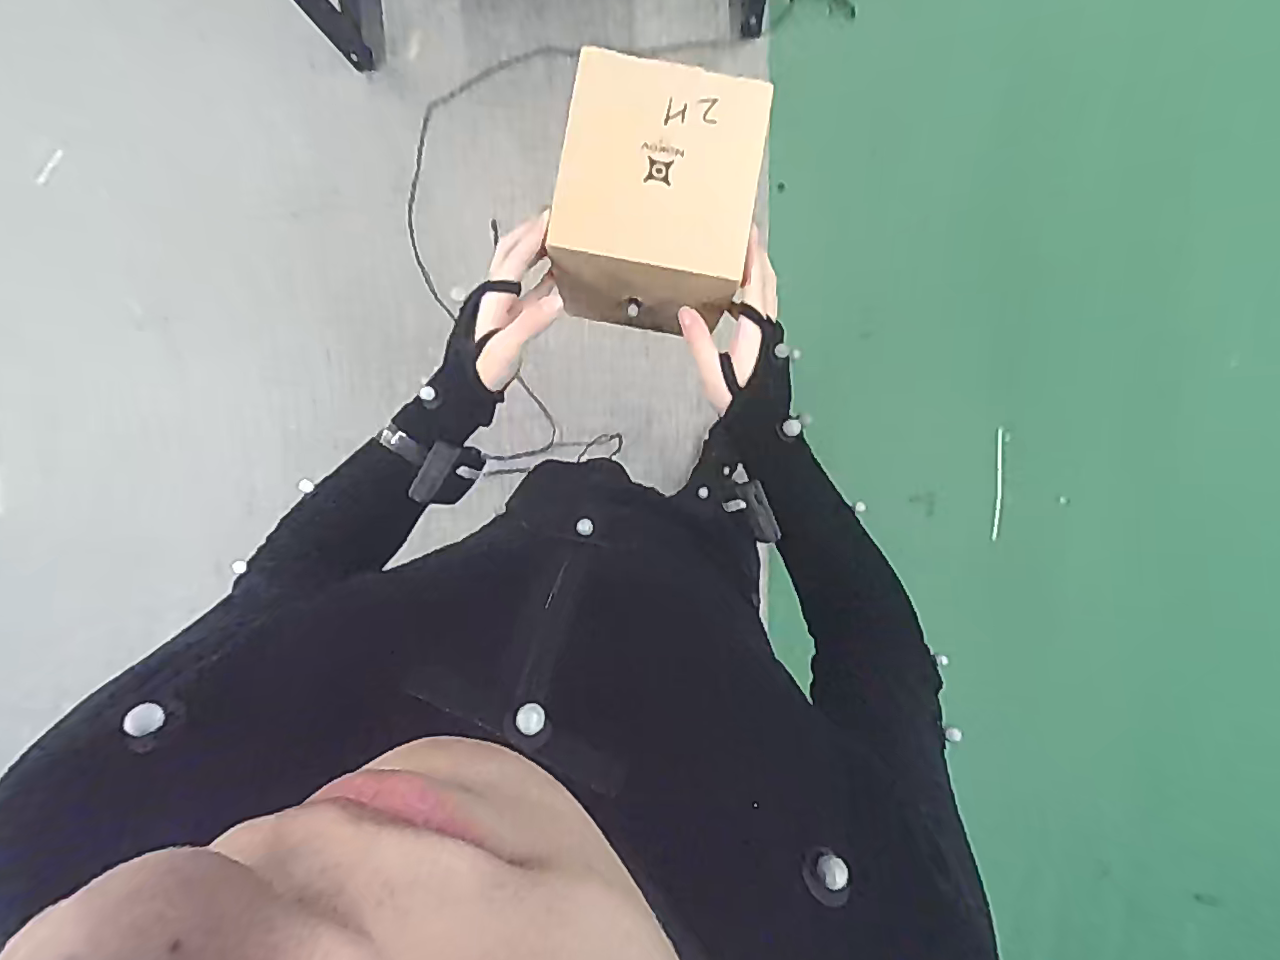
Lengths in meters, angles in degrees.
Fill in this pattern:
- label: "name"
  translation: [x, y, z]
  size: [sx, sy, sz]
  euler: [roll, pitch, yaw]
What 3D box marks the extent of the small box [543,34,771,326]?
- label: "small box"
  translation: [0.013, -0.267, 0.525]
  size: [0.168, 0.176, 0.179]
  euler: [10, 87, -2]
